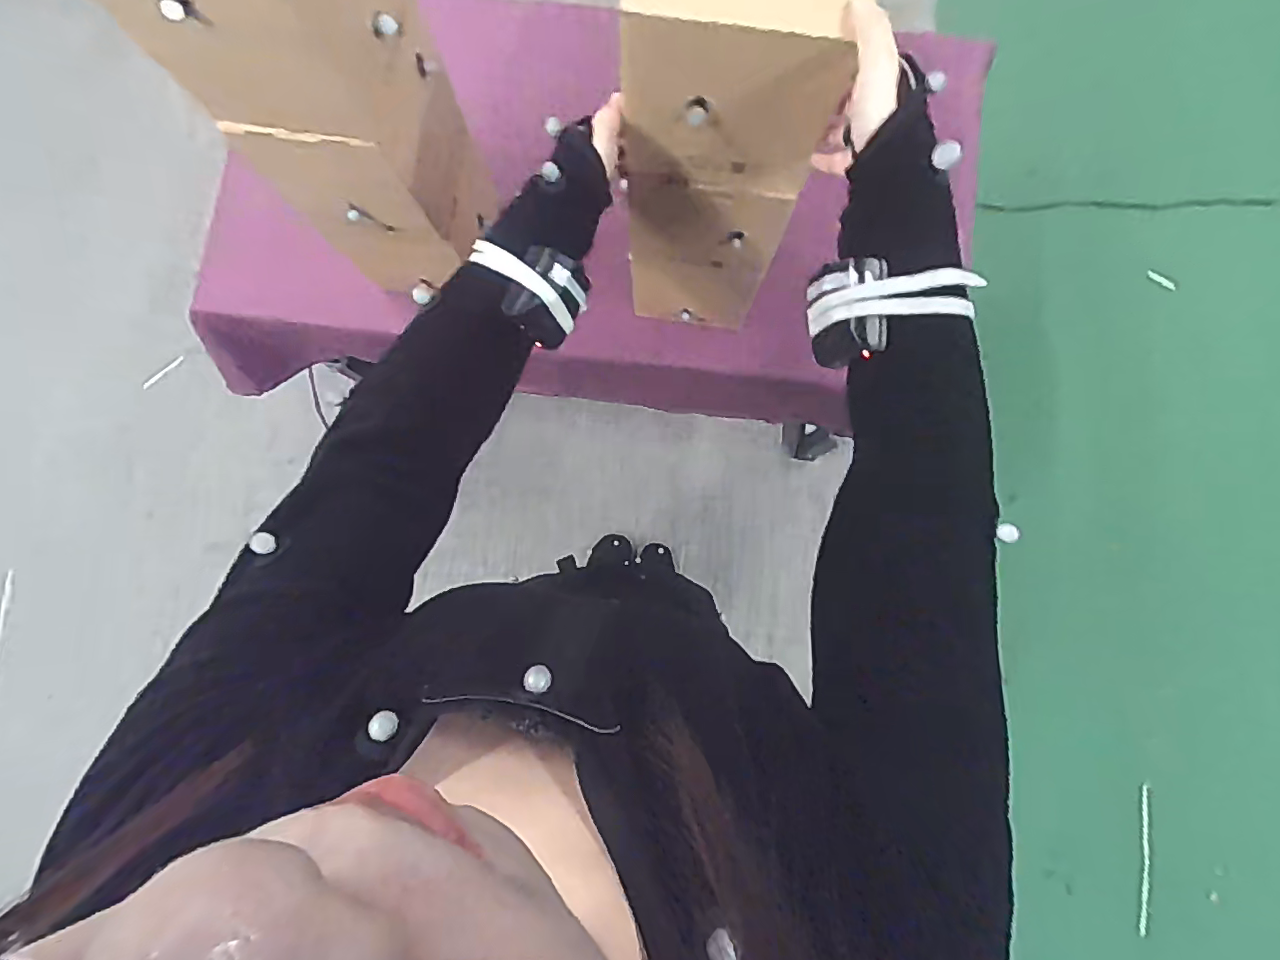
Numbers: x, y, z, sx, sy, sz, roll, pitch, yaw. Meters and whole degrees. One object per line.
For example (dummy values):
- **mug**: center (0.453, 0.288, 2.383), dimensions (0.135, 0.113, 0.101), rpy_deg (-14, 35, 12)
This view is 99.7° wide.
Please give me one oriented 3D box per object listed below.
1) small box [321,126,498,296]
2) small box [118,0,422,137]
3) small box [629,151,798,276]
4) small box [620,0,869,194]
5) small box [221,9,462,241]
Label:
- **small box**: center (-0.316, -0.383, 0.780), dimensions (0.179, 0.176, 0.168), rpy_deg (6, 83, 1)
- **small box**: center (-0.314, -0.427, 0.453), dimensions (0.179, 0.176, 0.168), rpy_deg (9, 83, 1)
- **small box**: center (0.082, -0.352, 0.606), dimensions (0.168, 0.176, 0.179), rpy_deg (8, 84, 1)
- **small box**: center (0.080, -0.370, 0.444), dimensions (0.168, 0.176, 0.179), rpy_deg (8, 84, 0)
- **small box**: center (-0.317, -0.407, 0.616), dimensions (0.168, 0.176, 0.179), rpy_deg (8, 84, 2)
